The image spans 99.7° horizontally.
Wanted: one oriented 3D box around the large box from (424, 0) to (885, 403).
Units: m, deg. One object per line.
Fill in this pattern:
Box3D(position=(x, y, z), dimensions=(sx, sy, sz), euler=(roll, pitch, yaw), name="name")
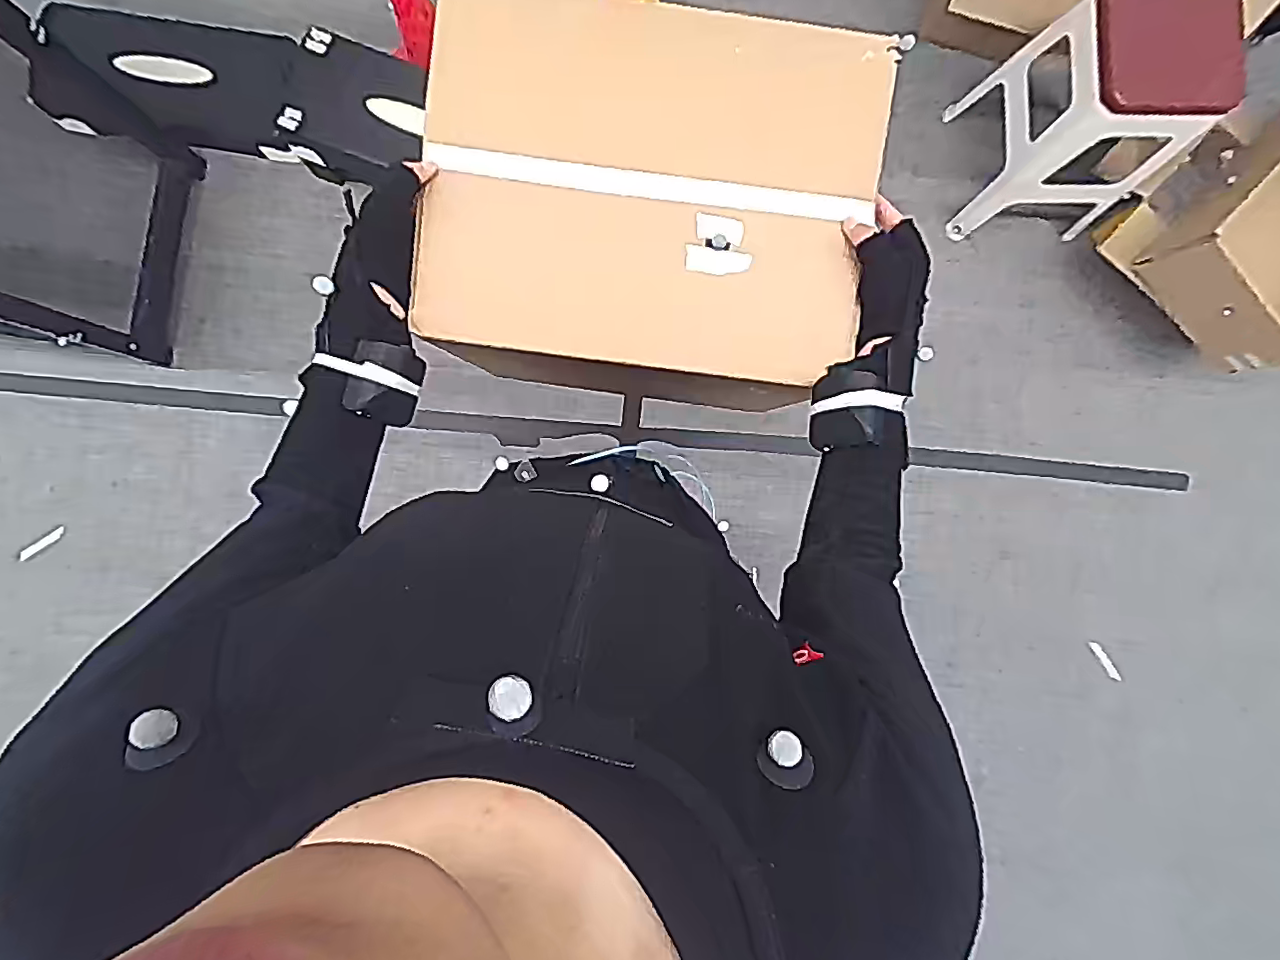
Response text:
Box3D(position=(0.006, -0.277, 0.644), dimensions=(0.408, 0.320, 0.320), euler=(7, 95, -2), name="large box")
